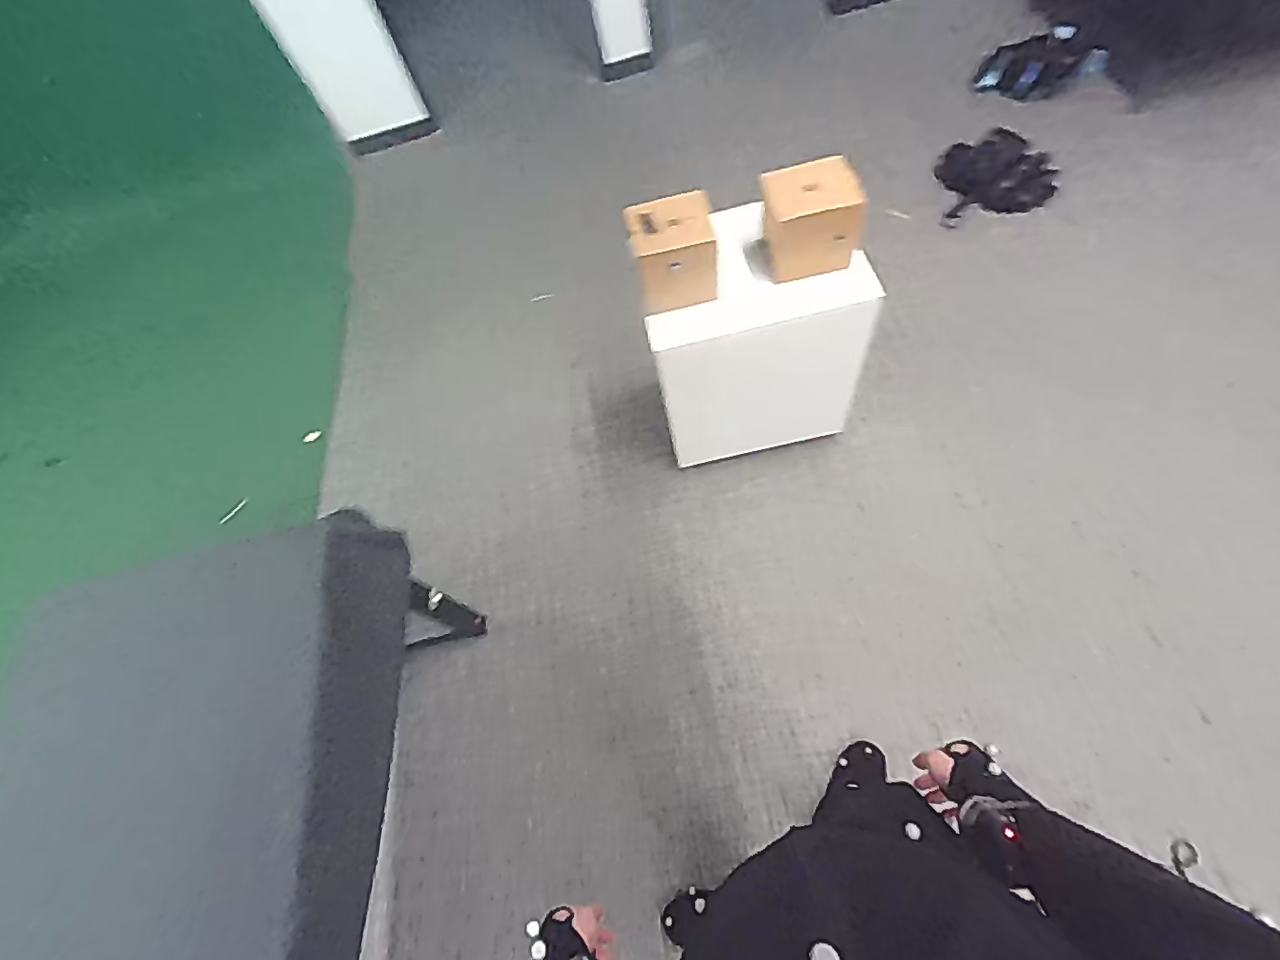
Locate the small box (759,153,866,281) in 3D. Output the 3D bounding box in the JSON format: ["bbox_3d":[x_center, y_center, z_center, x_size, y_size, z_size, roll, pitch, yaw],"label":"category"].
[{"bbox_3d":[0.364,-0.567,1.179,0.179,0.176,0.168,-12,61,5],"label":"small box"}]

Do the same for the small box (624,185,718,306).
[{"bbox_3d":[0.071,-0.509,1.193,0.179,0.176,0.168,-11,63,1],"label":"small box"}]
